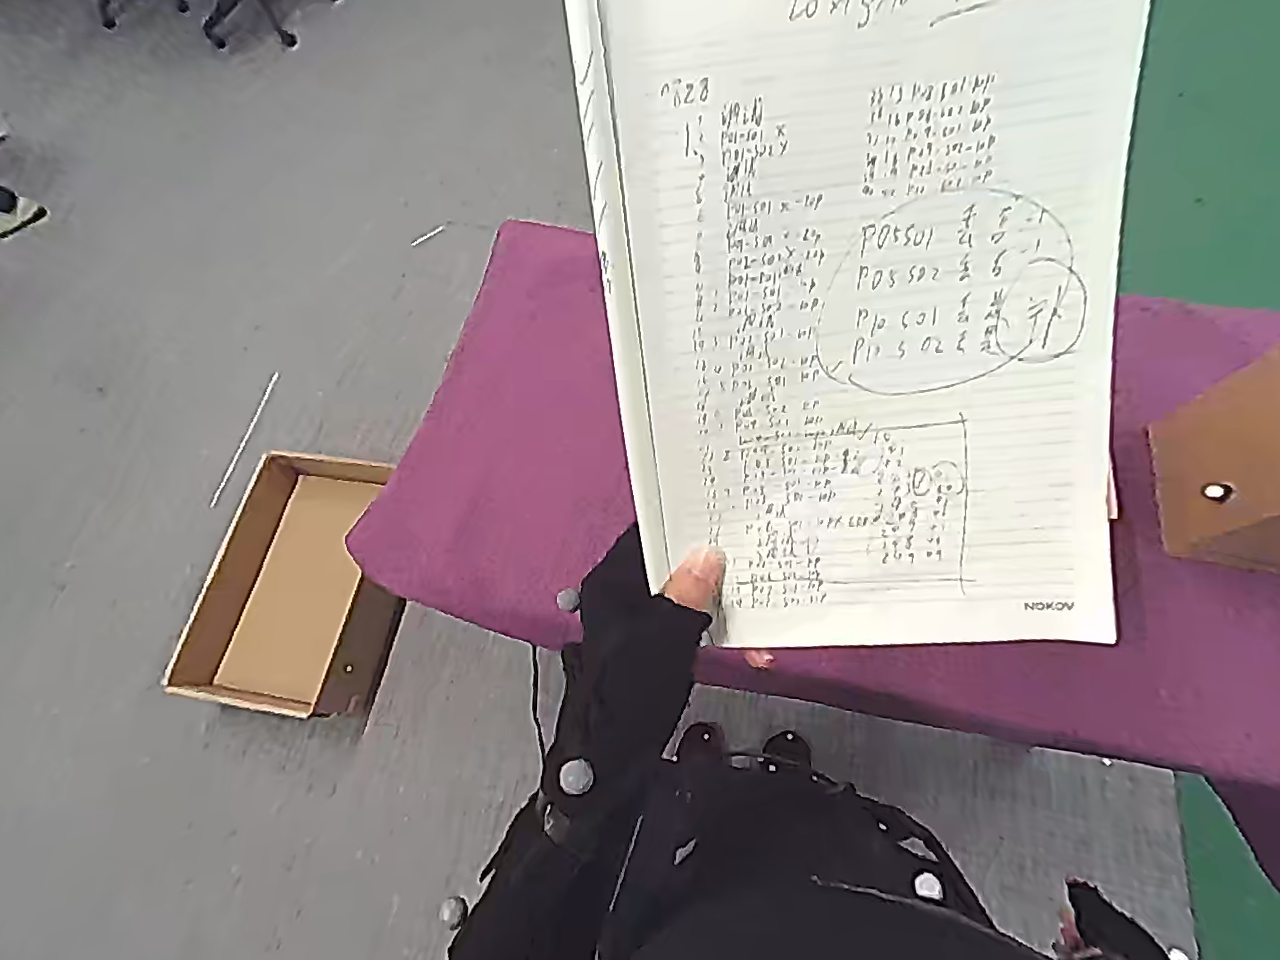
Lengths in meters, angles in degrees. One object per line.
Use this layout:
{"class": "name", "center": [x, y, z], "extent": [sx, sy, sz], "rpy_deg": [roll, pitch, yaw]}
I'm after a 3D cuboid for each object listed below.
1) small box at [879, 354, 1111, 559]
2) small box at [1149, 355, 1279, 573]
{"class": "small box", "center": [0.385, -0.018, 0.620], "extent": [0.168, 0.176, 0.179], "rpy_deg": [8, 68, 9]}
{"class": "small box", "center": [0.703, -0.005, 0.580], "extent": [0.168, 0.176, 0.179], "rpy_deg": [11, 69, 10]}
